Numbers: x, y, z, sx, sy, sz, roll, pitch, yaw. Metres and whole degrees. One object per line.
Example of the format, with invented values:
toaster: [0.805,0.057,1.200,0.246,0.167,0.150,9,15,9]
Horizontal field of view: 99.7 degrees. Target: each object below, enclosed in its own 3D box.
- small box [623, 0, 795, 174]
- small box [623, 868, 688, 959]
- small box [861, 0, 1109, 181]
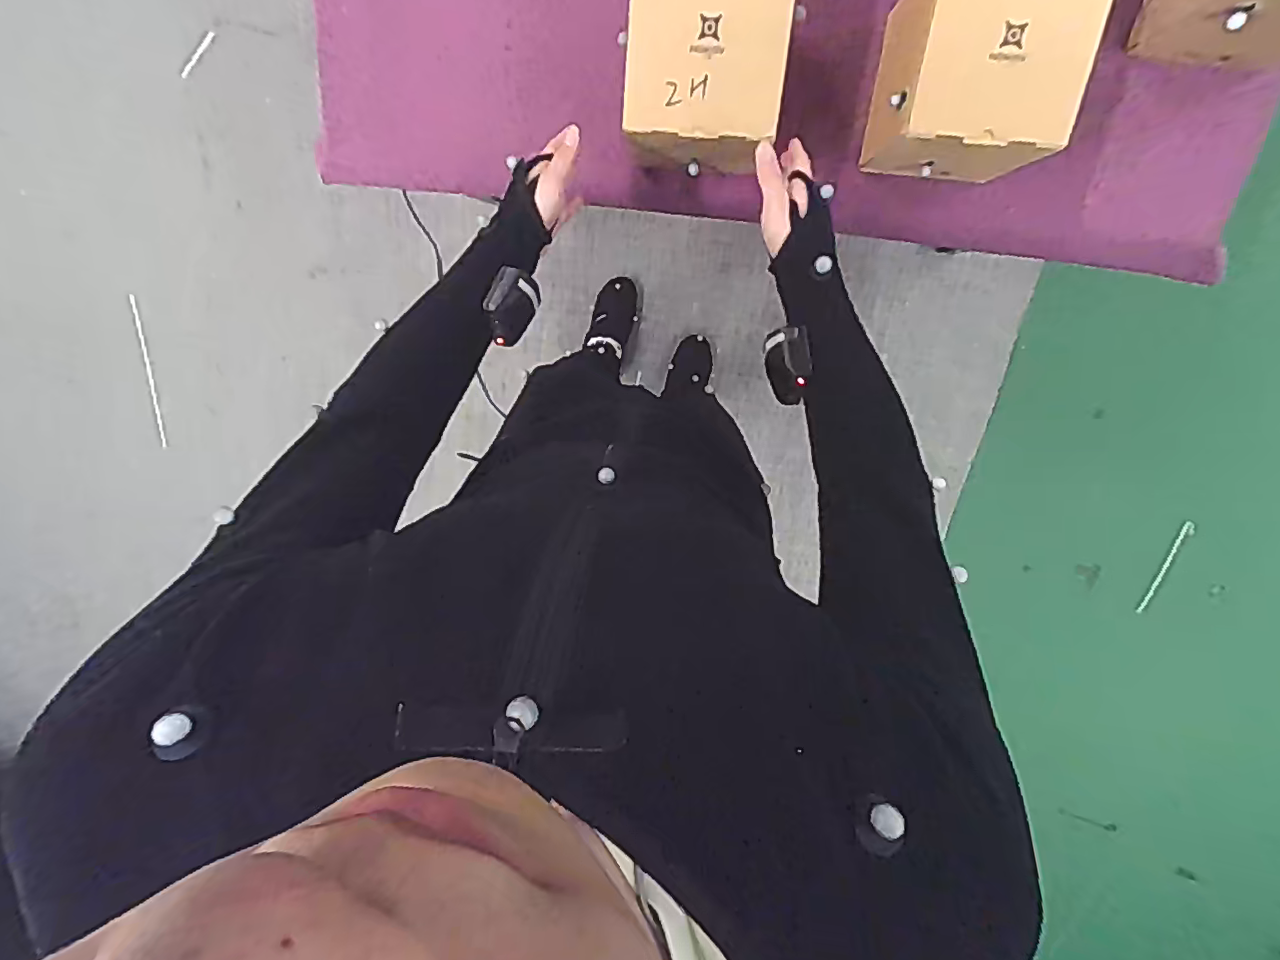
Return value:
small box: [0.075,-0.476,0.626,0.168,0.176,0.179,6,110,3]
small box: [0.049,1.315,1.619,0.168,0.176,0.179,10,111,0]
small box: [0.371,-0.458,0.612,0.168,0.176,0.179,6,110,2]
